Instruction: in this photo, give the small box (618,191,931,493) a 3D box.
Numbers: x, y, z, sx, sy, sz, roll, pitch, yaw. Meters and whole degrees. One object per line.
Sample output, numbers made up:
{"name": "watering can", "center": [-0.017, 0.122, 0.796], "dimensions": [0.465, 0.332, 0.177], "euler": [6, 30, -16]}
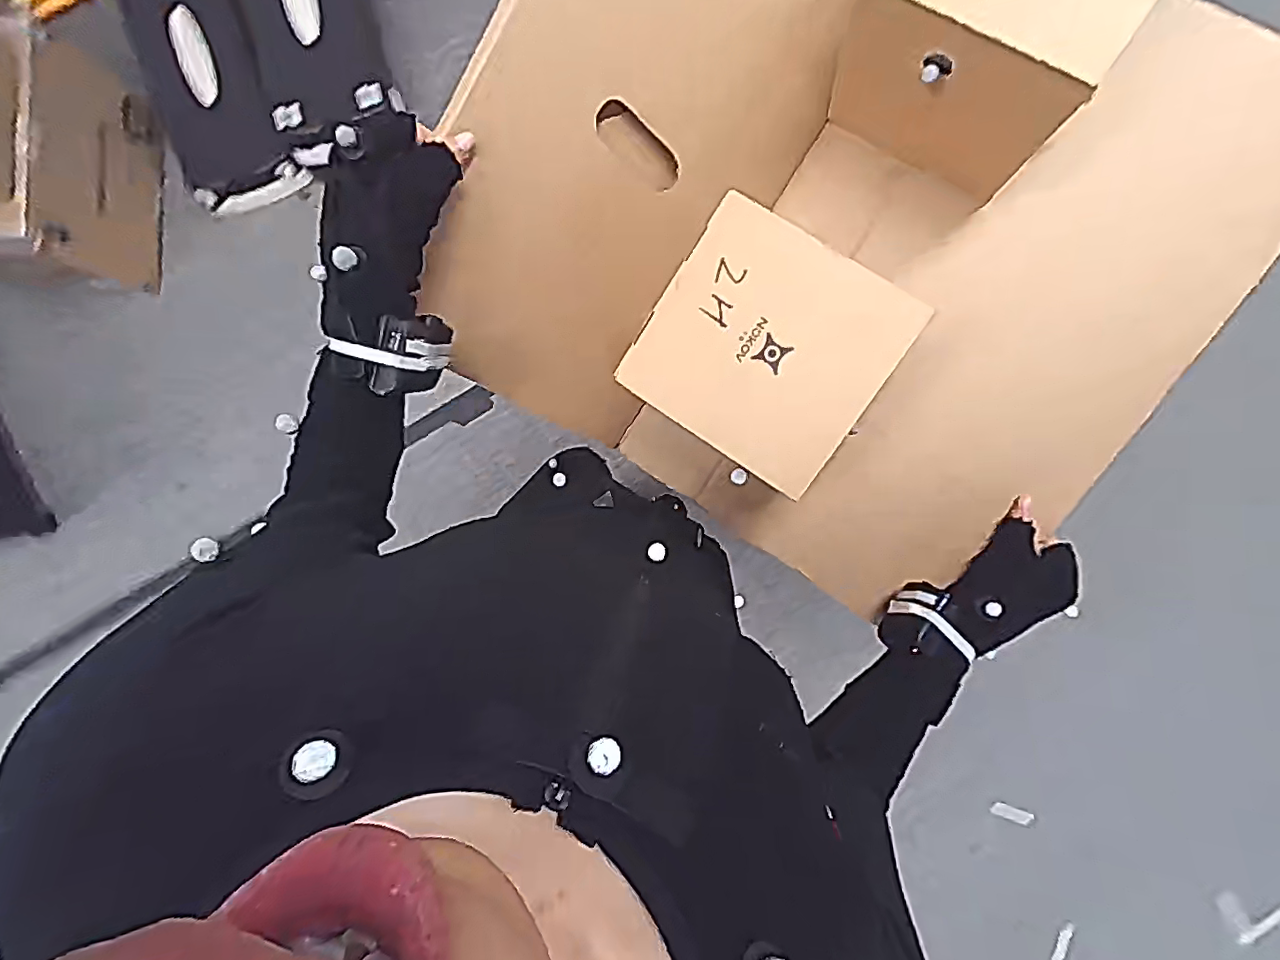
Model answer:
{"name": "small box", "center": [0.112, -0.110, 0.487], "dimensions": [0.179, 0.176, 0.168], "euler": [37, 100, 8]}
